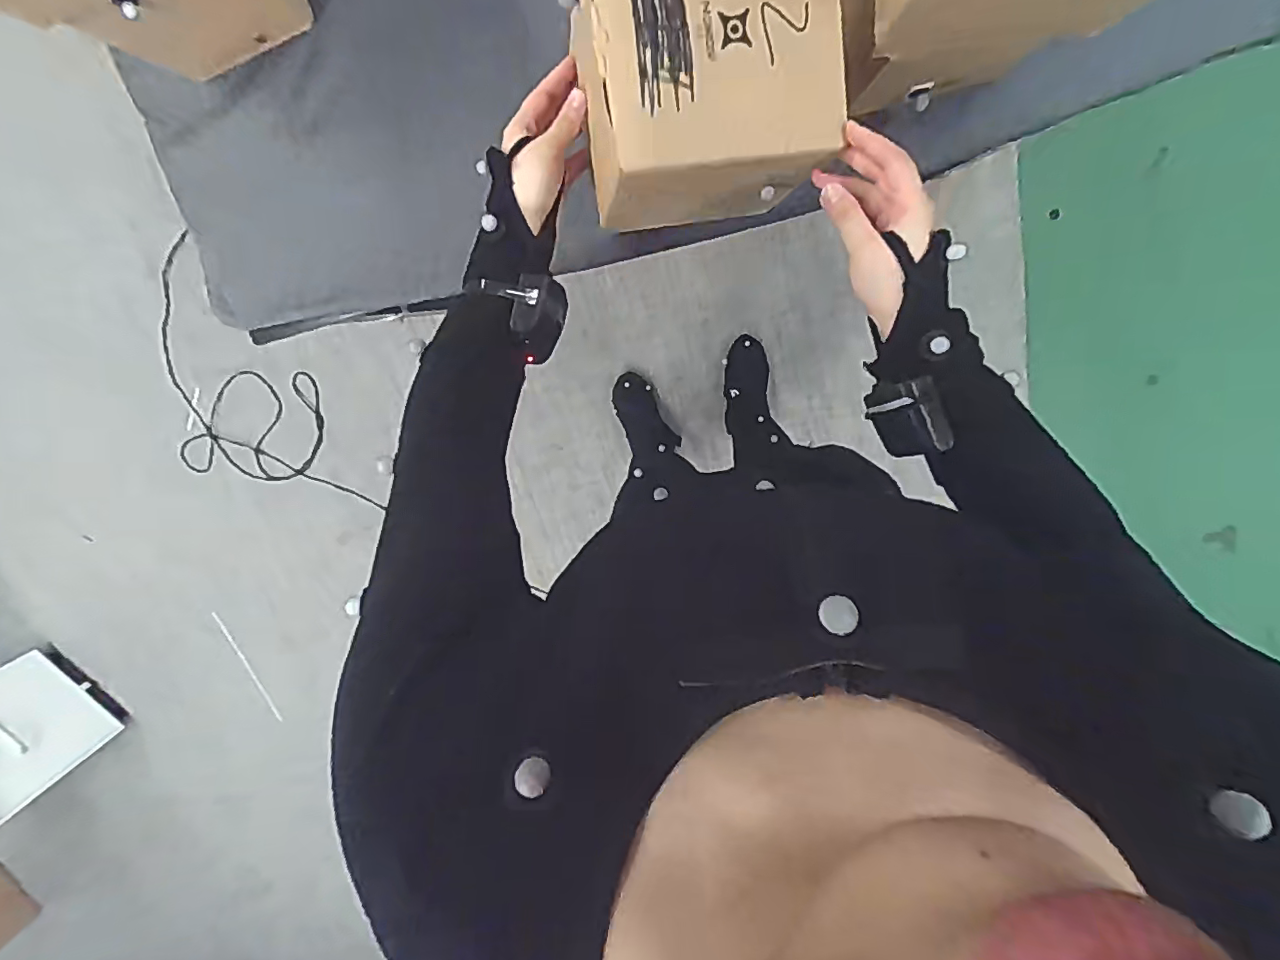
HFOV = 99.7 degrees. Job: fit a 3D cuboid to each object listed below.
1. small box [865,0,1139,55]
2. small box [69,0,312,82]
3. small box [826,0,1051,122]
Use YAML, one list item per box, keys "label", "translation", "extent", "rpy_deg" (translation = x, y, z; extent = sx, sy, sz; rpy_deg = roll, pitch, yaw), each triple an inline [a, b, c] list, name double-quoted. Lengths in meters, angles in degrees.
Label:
- label: "small box"
  translation: [0.254, -0.389, 0.322]
  extent: [0.179, 0.176, 0.168]
  rpy_deg: [-1, 108, 7]
- label: "small box"
  translation: [-0.465, -0.529, 0.512]
  extent: [0.168, 0.176, 0.179]
  rpy_deg: [-16, 108, 10]
- label: "small box"
  translation: [0.266, -0.454, 0.471]
  extent: [0.168, 0.176, 0.179]
  rpy_deg: [-12, 107, 10]
